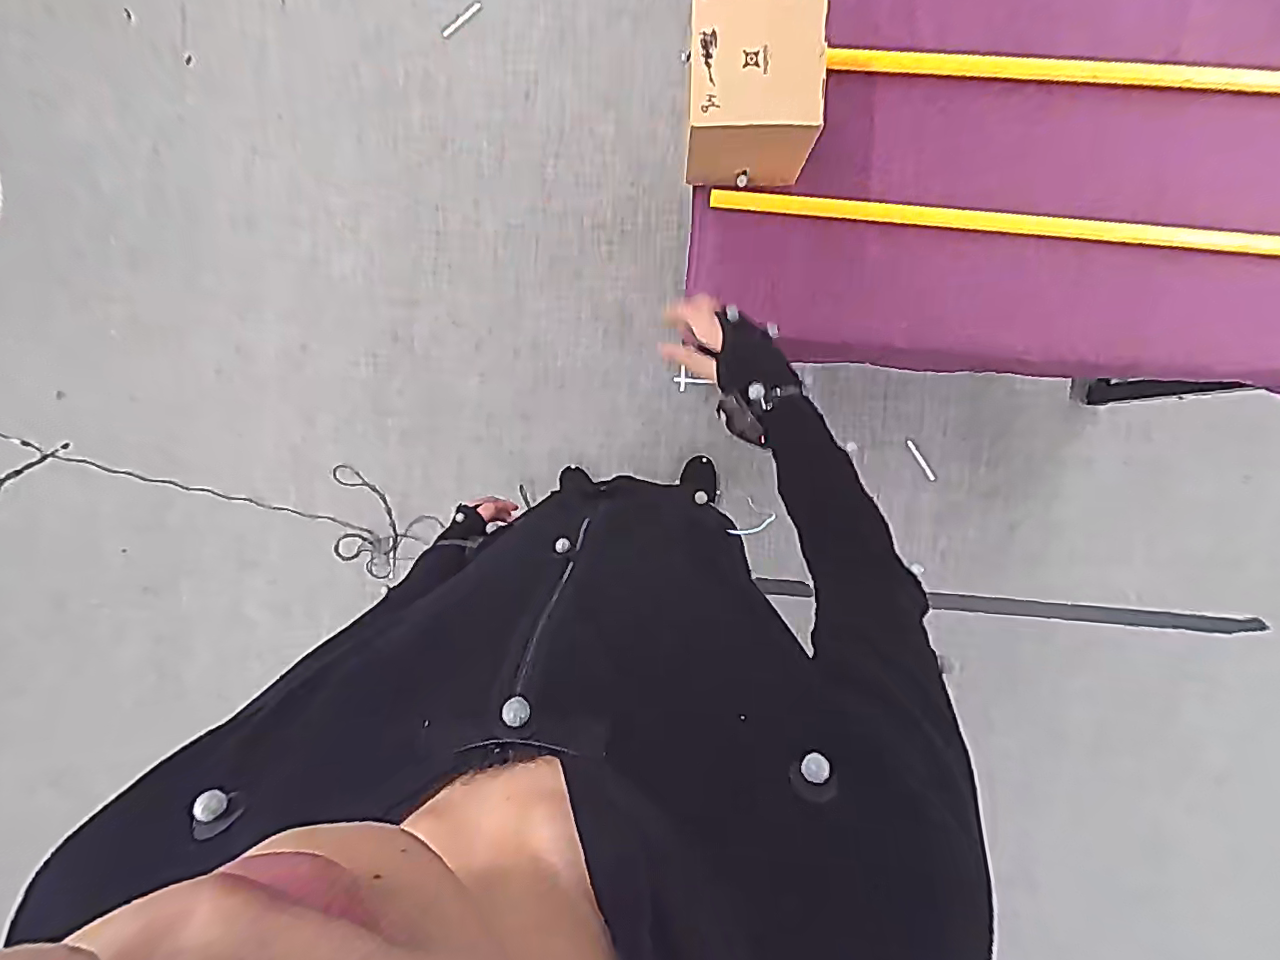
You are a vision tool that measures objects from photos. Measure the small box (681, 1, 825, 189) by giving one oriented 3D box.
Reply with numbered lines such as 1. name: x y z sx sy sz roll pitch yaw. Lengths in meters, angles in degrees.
1. small box: 0.155 -0.548 0.793 0.179 0.176 0.168 2 94 2
